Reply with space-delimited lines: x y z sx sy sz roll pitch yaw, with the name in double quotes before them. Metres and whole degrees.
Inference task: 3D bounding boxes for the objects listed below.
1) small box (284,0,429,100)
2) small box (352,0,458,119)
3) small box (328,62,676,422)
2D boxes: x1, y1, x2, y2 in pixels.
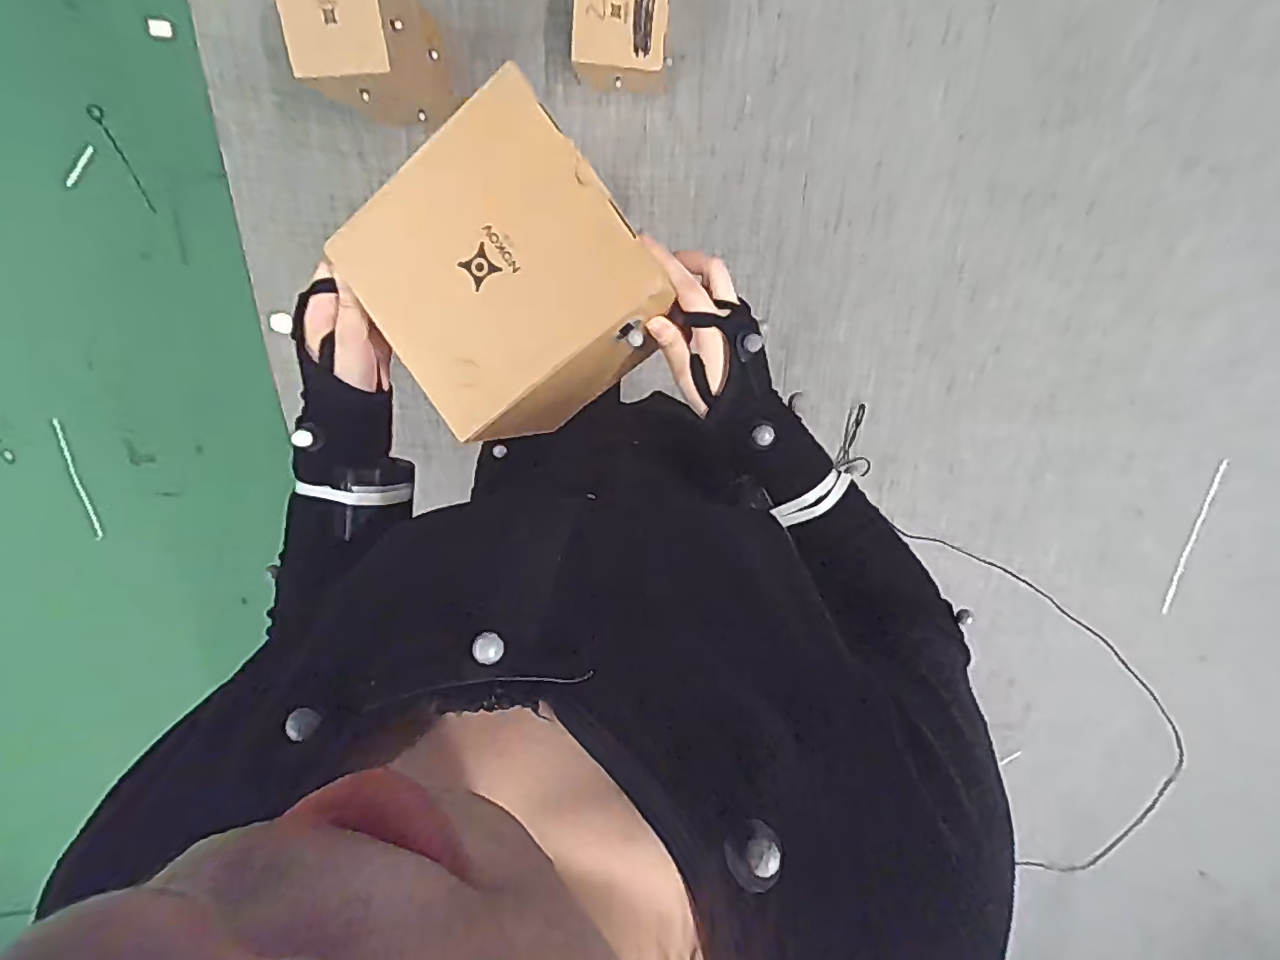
"small box" -0.490 -0.788 0.950 0.168 0.176 0.179 -1 112 1
"small box" -0.482 -0.852 1.101 0.168 0.176 0.179 0 111 1
"small box" -0.091 -0.160 0.435 0.179 0.176 0.168 -34 89 13
